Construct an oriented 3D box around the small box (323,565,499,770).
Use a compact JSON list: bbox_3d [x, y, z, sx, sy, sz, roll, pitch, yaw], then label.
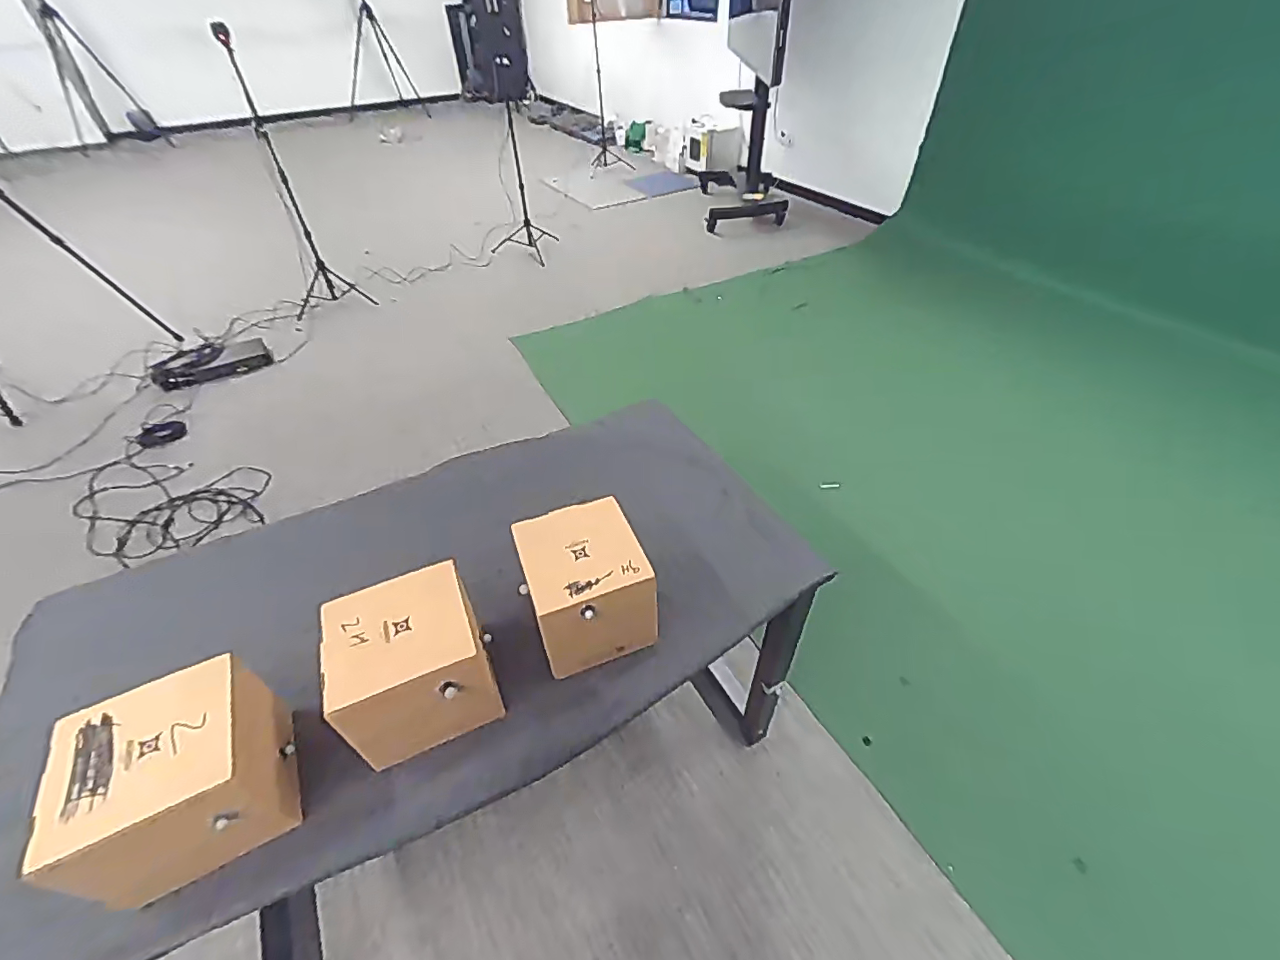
[{"bbox_3d":[-0.300,0.252,0.730,0.179,0.176,0.168,-19,44,-16],"label":"small box"}]
